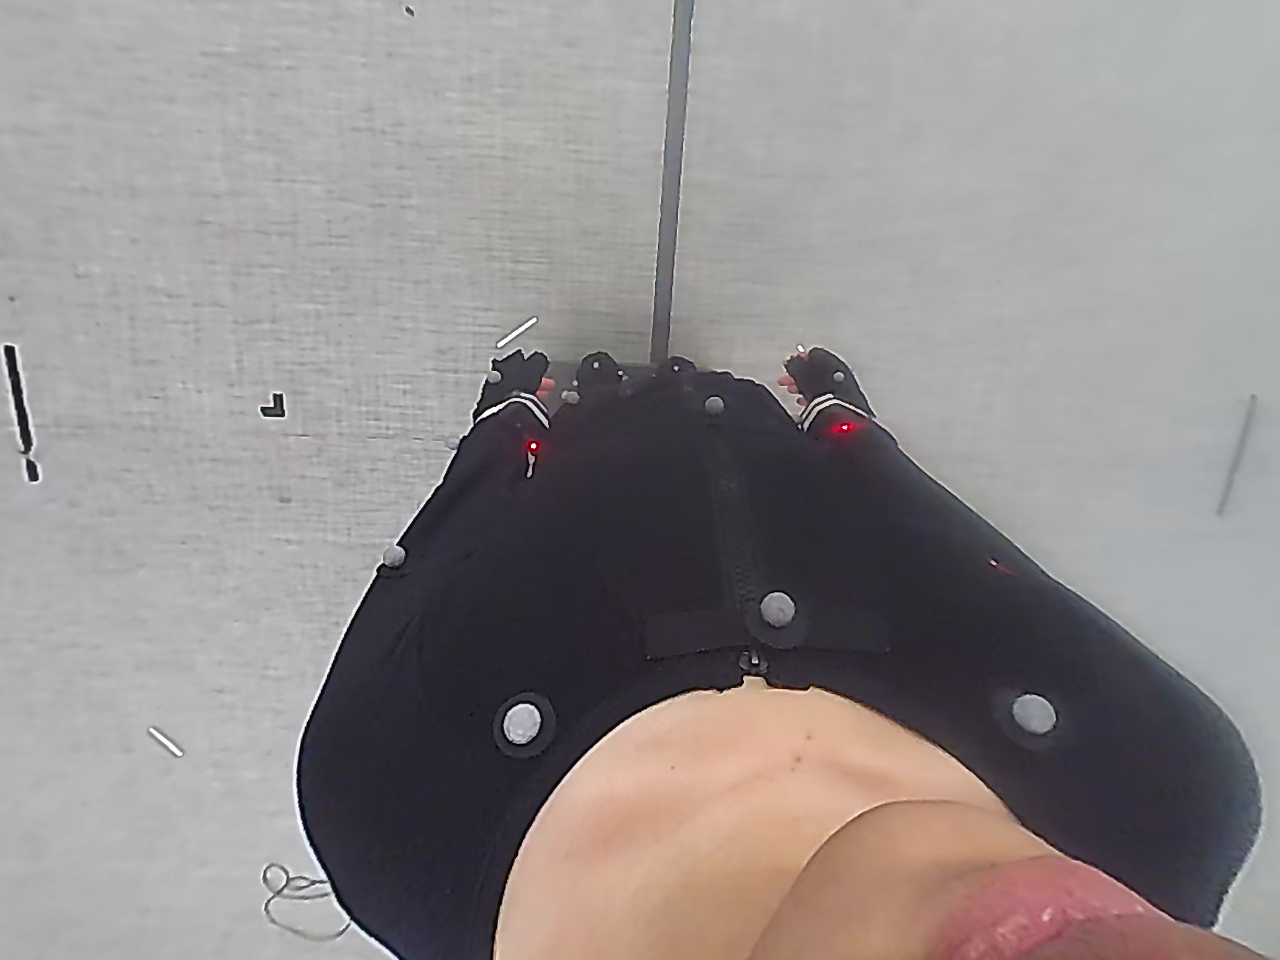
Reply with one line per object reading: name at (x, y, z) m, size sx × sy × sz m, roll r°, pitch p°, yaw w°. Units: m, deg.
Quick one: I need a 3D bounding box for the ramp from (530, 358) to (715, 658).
ramp at (-0.061, 0.142, 1.614) m, size 0.509 × 0.206 × 0.991 m, roll 0°, pitch 104°, yaw -3°
